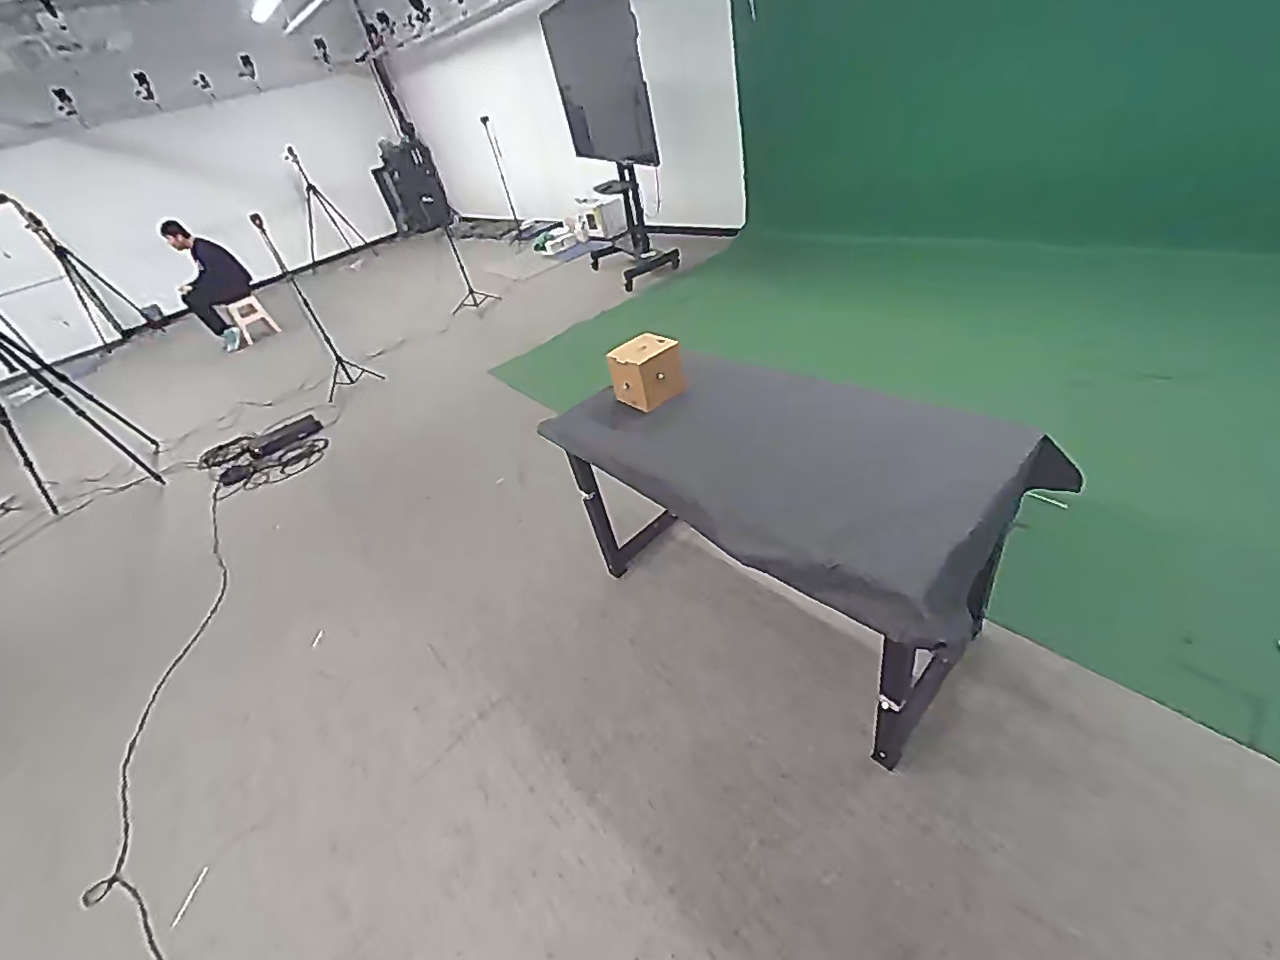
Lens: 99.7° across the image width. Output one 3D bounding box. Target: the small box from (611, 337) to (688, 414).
[{"bbox_3d":[0.036,-0.336,1.746,0.179,0.176,0.168,-35,42,-25],"label":"small box"}]
